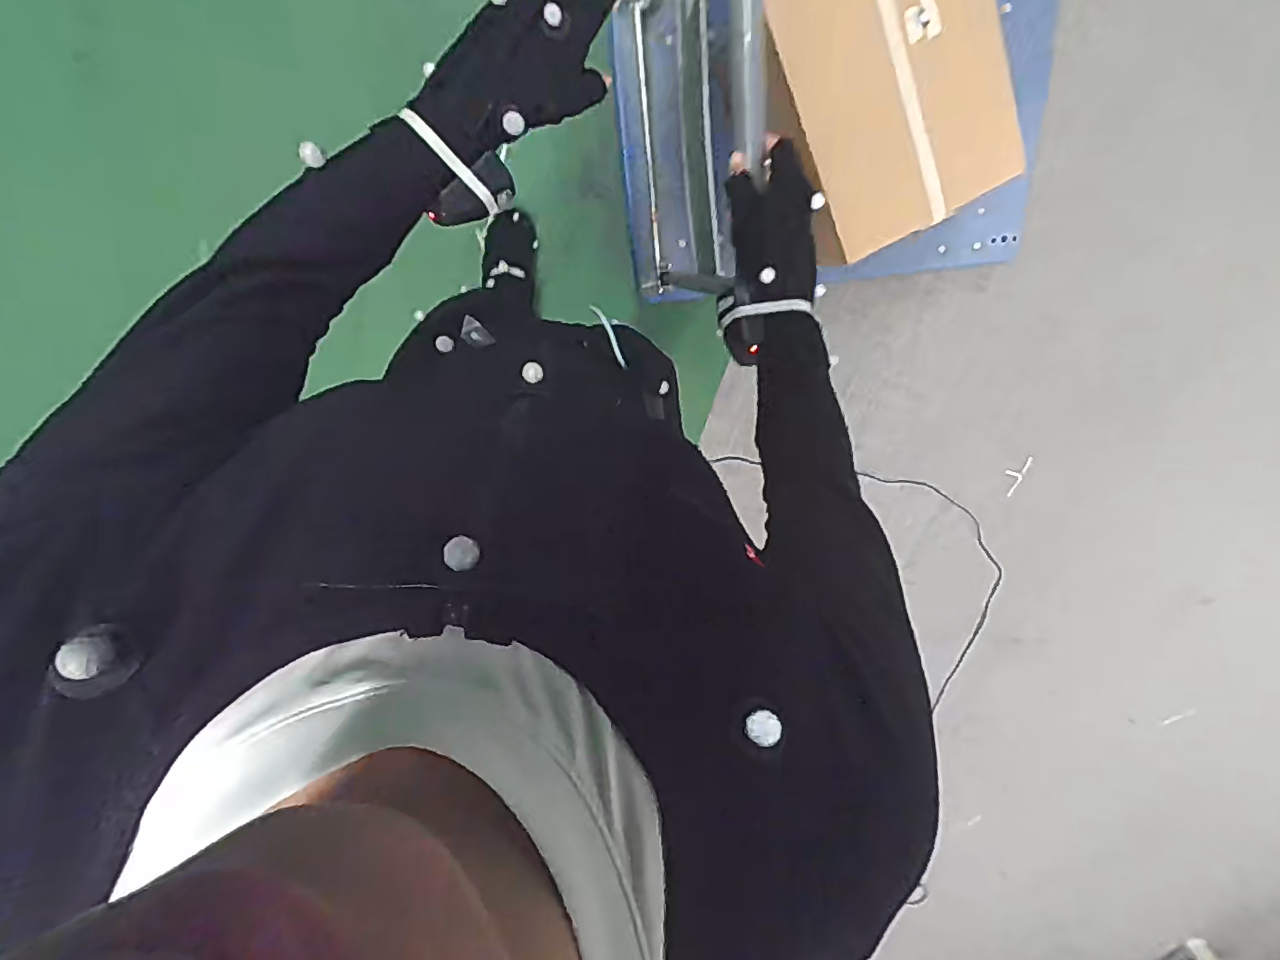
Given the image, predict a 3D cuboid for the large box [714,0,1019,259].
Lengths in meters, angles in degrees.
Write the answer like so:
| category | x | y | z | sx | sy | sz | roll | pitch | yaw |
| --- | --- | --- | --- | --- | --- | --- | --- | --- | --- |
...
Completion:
| category | x | y | z | sx | sy | sz | roll | pitch | yaw |
| --- | --- | --- | --- | --- | --- | --- | --- | --- | --- |
| large box | 0.373 | -0.655 | 0.953 | 0.320 | 0.320 | 0.408 | -28 | 111 | 6 |
